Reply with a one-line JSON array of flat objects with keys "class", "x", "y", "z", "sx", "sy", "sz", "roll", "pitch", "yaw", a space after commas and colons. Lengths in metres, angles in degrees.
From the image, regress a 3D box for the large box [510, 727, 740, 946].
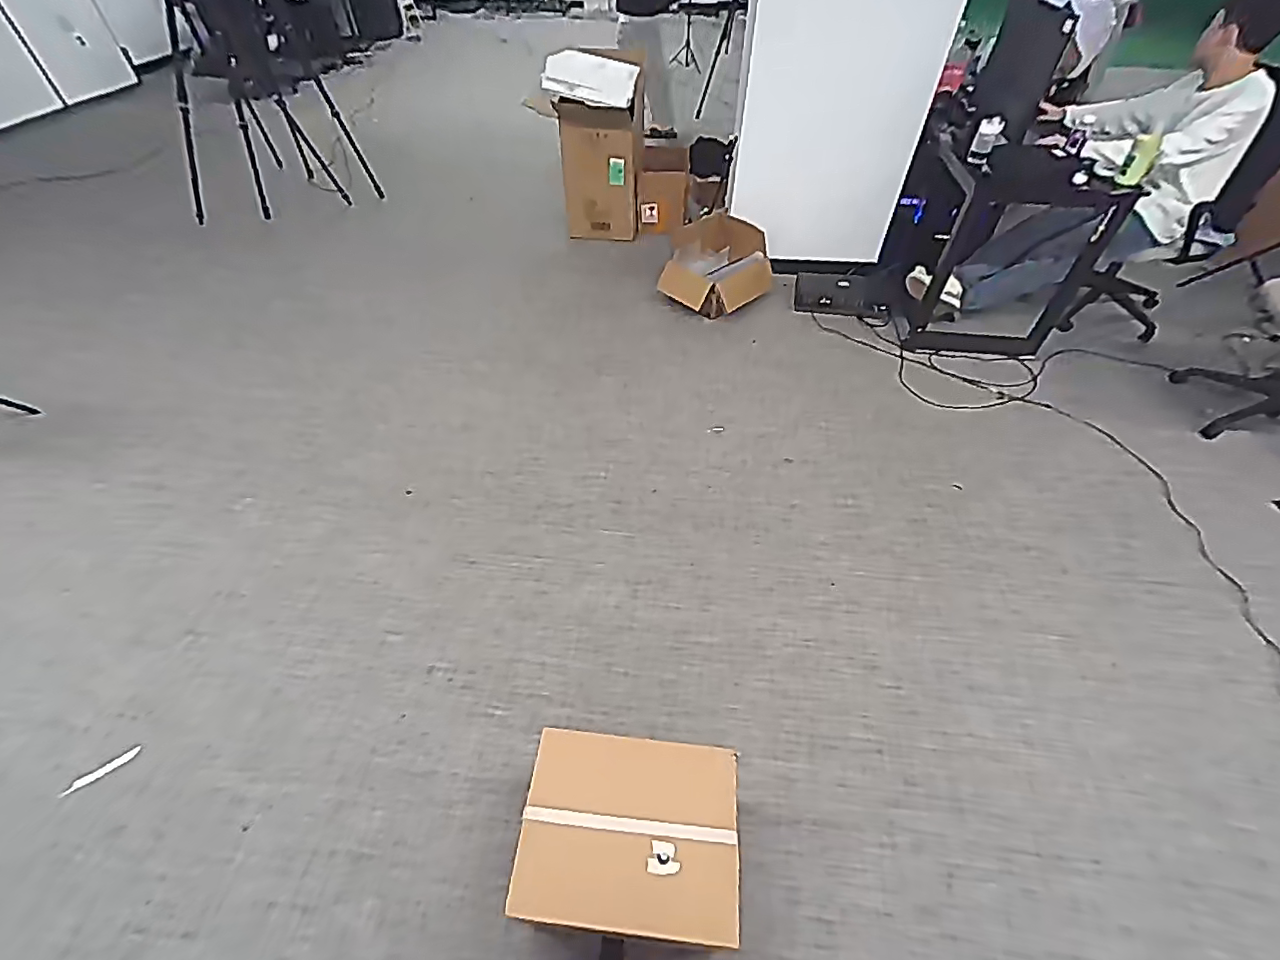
[{"class": "large box", "x": -0.019, "y": 0.745, "z": 1.128, "sx": 0.408, "sy": 0.320, "sz": 0.320, "roll": 6, "pitch": 49, "yaw": 3}]
